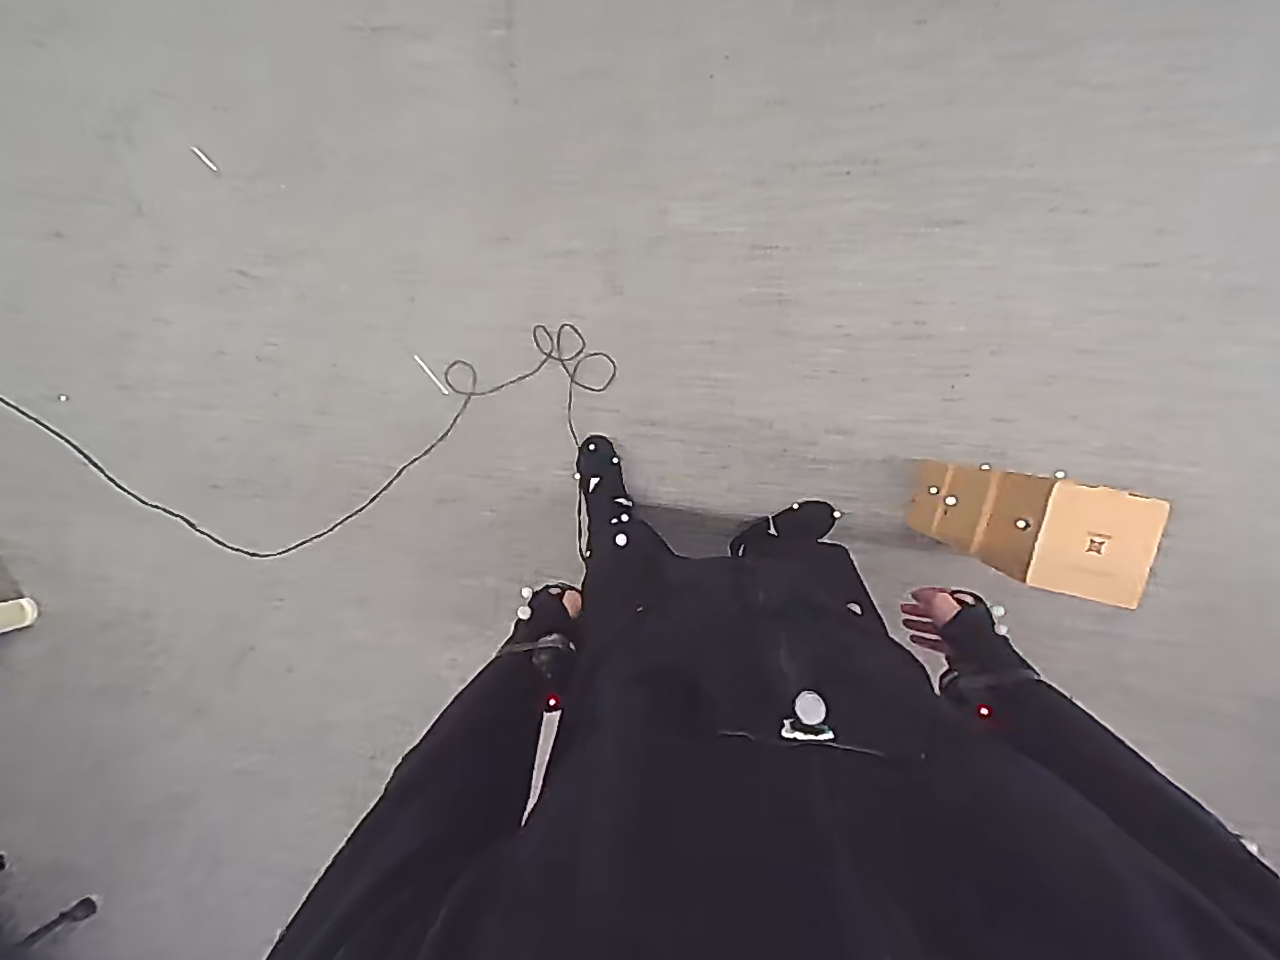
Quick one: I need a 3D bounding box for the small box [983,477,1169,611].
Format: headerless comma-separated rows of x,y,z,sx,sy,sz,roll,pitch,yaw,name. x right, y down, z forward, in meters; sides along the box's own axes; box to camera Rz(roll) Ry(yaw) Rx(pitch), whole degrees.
0.719,0.096,0.916,0.168,0.176,0.179,12,97,8,small box

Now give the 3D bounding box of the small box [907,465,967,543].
0.747,0.064,1.240,0.179,0.176,0.168,12,97,6,small box

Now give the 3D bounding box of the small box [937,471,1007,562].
0.733,0.082,1.077,0.179,0.176,0.168,14,97,7,small box
